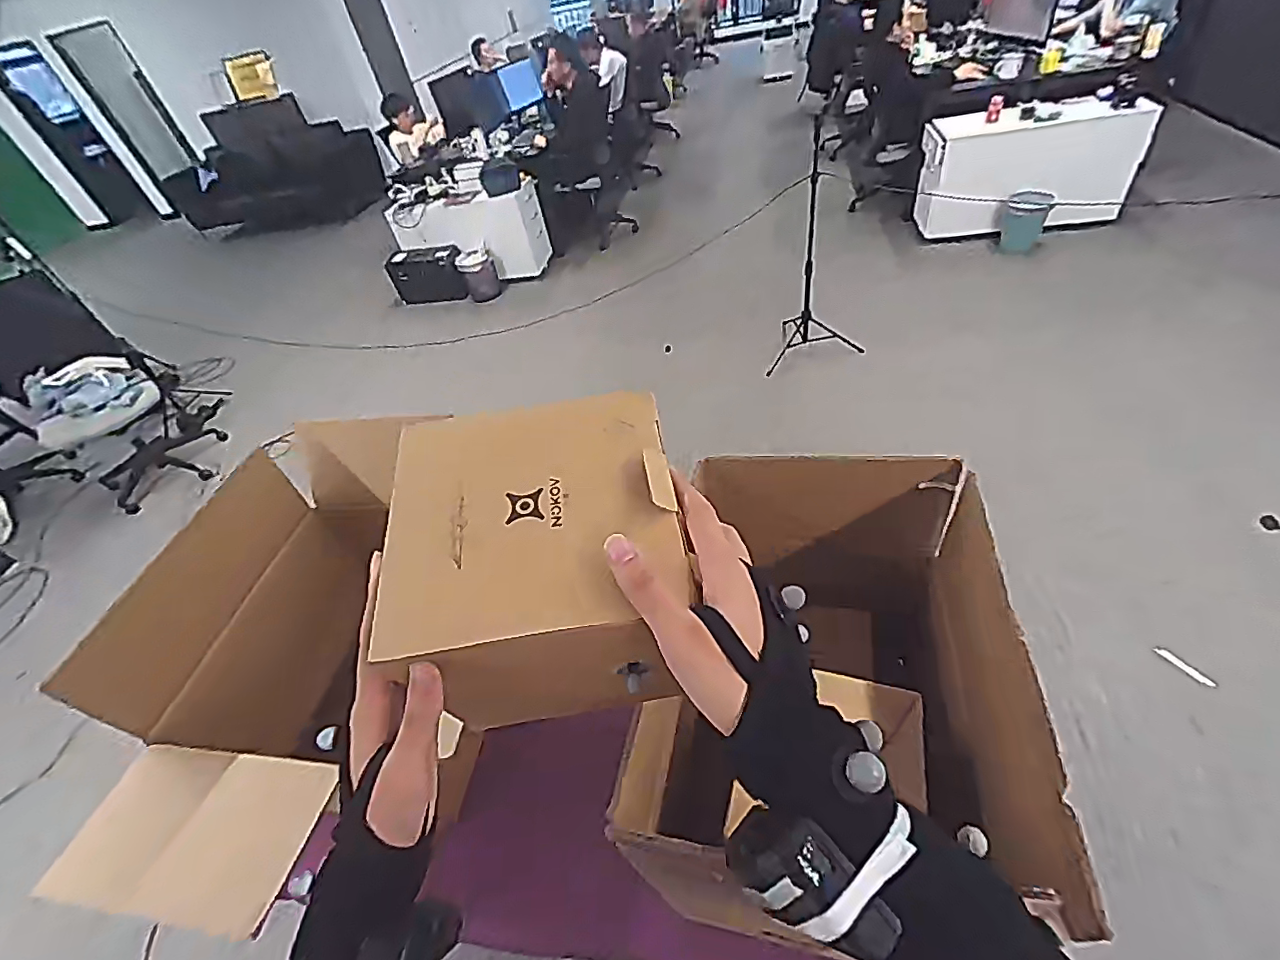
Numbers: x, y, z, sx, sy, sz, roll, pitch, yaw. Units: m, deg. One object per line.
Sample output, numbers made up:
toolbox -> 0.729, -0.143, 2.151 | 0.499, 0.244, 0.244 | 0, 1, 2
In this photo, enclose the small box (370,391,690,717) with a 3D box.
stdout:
small box -> -0.062, 0.061, 0.399 | 0.179, 0.176, 0.168 | -9, 53, 0
